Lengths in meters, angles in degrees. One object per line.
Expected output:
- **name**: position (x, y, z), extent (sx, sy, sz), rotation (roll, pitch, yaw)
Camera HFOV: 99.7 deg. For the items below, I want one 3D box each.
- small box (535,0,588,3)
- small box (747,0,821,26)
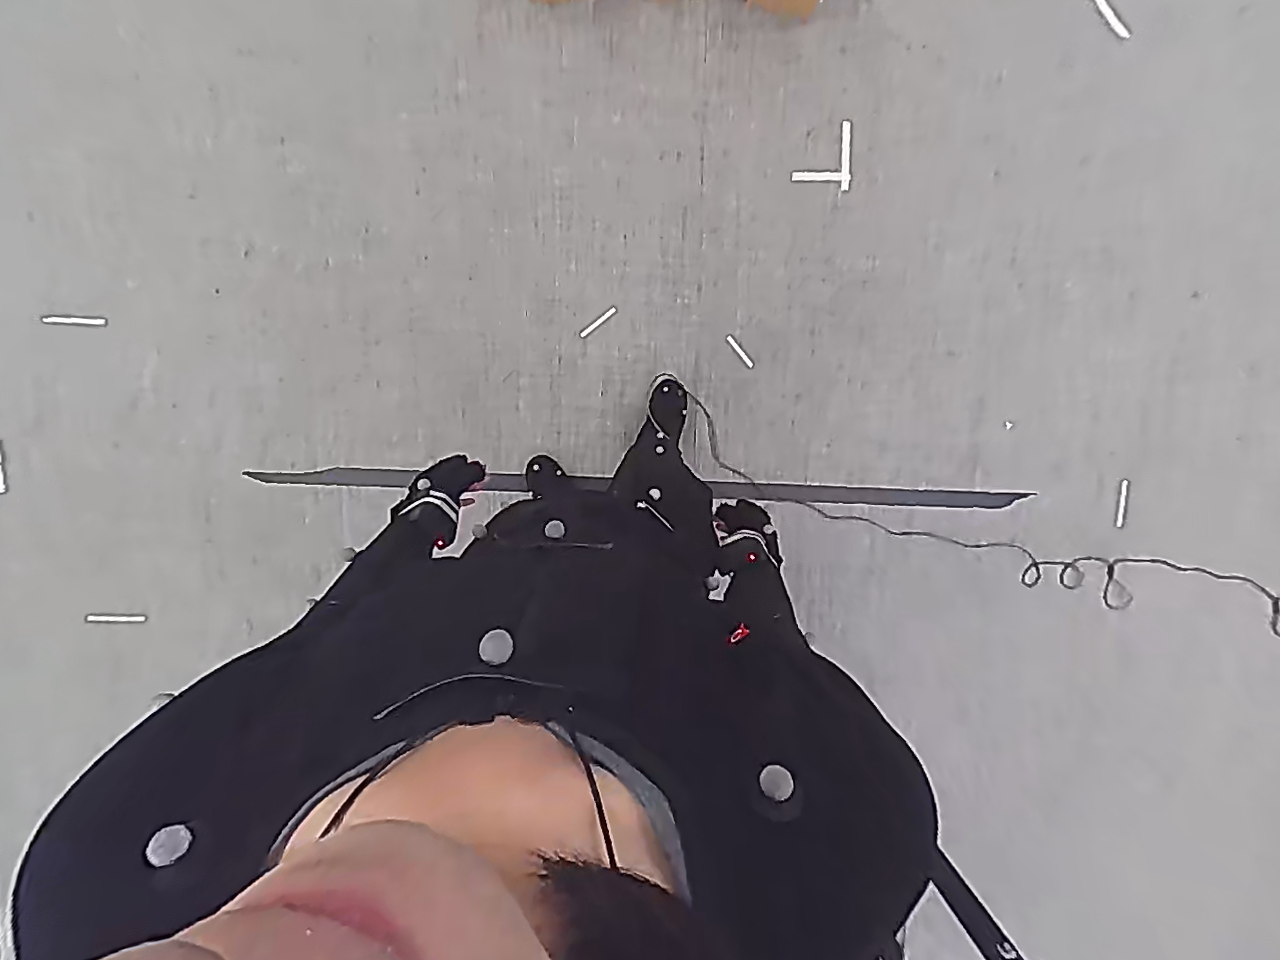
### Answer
- **small box**: position (-0.204, -1.288, 1.290), extent (0.168, 0.176, 0.179), rotation (-8, 96, -3)
- **small box**: position (0.380, -1.267, 1.321), extent (0.179, 0.176, 0.168), rotation (13, 95, -3)
